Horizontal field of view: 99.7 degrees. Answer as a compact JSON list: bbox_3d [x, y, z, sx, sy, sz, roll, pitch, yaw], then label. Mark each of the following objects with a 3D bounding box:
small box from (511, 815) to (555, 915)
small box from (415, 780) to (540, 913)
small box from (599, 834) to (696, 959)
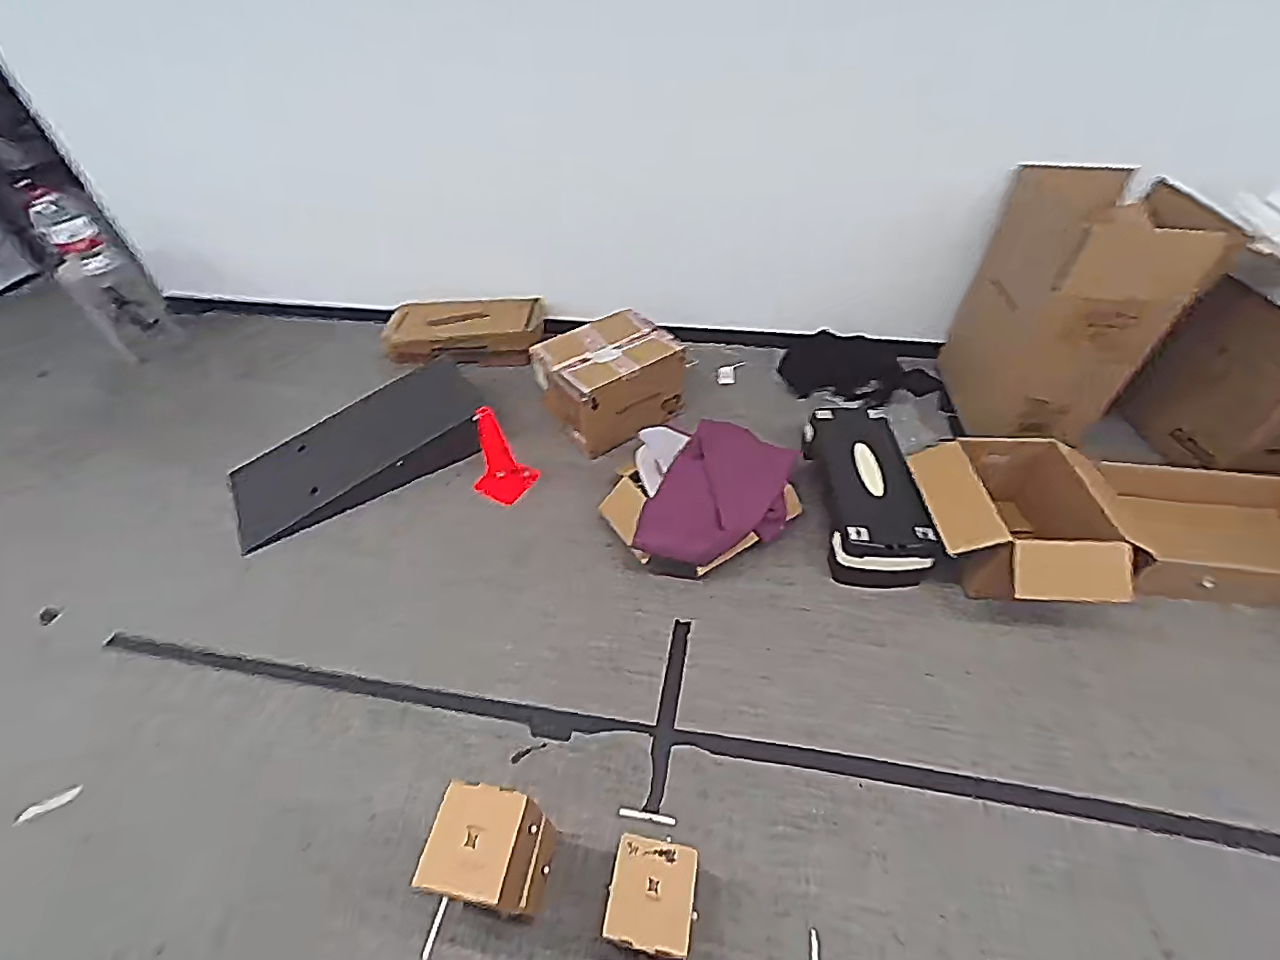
[{"bbox_3d":[-0.297,0.834,1.187,0.179,0.176,0.168,5,46,8],"label":"small box"},{"bbox_3d":[-0.306,0.725,1.068,0.168,0.176,0.179,5,48,10],"label":"small box"},{"bbox_3d":[0.023,0.877,1.133,0.168,0.176,0.179,8,48,10],"label":"small box"}]
